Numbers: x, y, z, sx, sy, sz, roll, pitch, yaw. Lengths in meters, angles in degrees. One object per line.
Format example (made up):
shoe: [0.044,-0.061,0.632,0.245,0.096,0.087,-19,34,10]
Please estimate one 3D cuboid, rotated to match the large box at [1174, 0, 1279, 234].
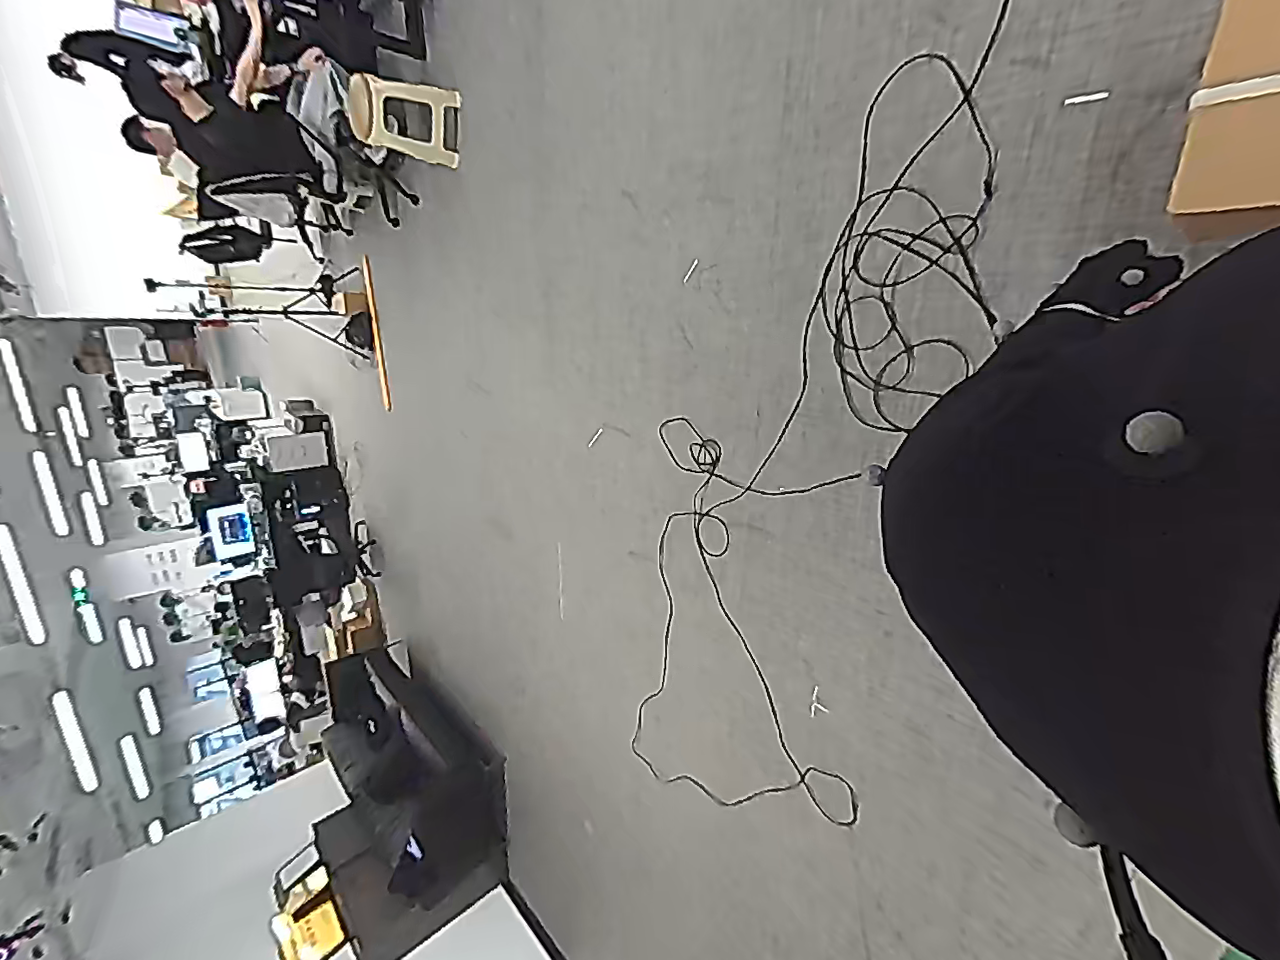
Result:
large box: [1.065,-0.549,0.756,0.408,0.320,0.320,18,113,44]
